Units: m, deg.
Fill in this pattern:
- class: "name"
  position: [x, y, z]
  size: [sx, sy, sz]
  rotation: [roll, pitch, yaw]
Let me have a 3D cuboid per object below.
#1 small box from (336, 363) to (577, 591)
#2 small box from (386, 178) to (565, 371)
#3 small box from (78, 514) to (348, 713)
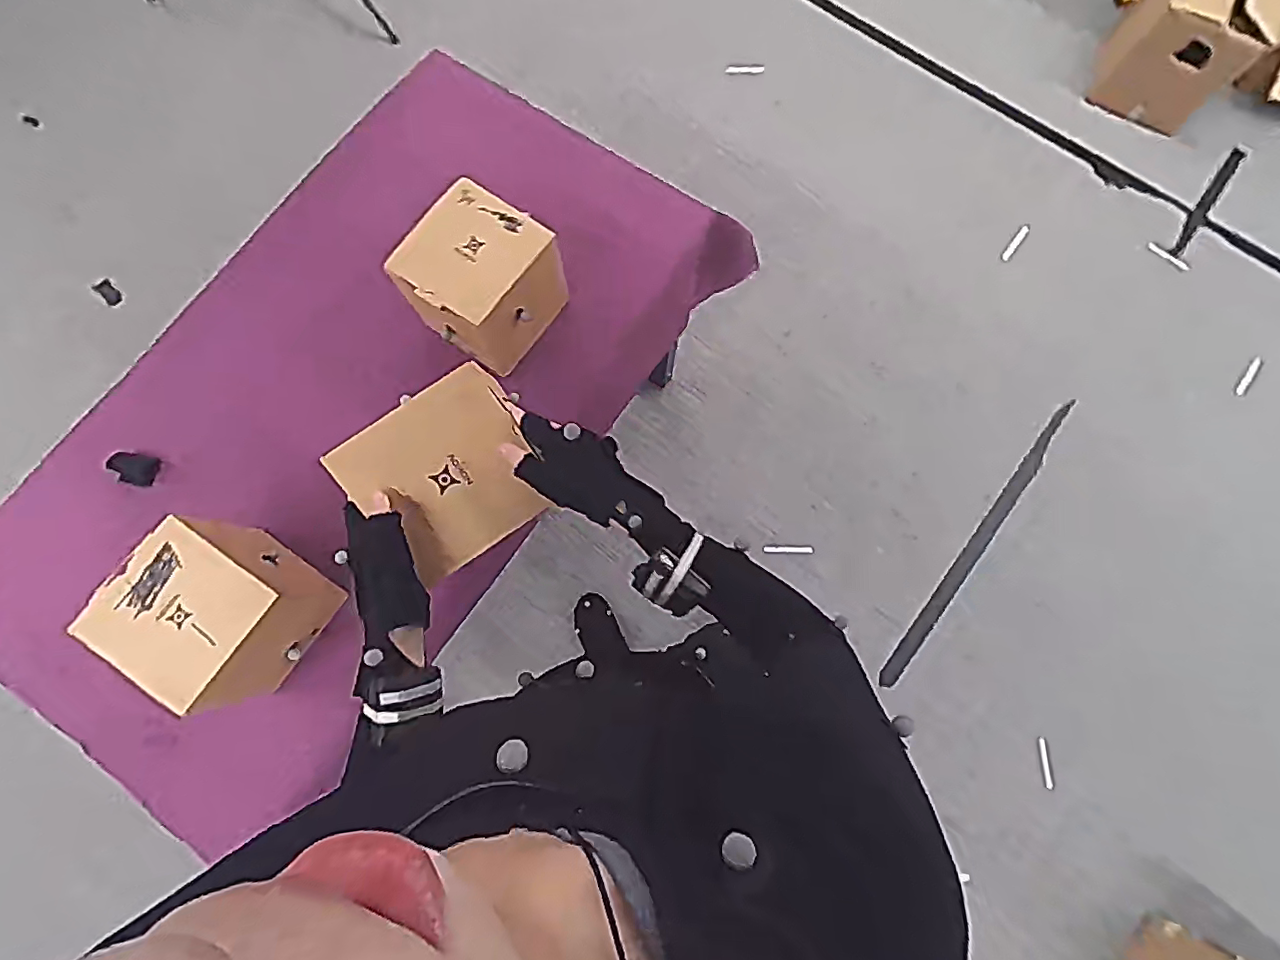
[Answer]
- class: "small box"
  position: [-0.189, -0.009, 0.611]
  size: [0.179, 0.176, 0.168]
  rotation: [-34, 97, -3]
- class: "small box"
  position: [-0.231, -0.294, 0.813]
  size: [0.168, 0.176, 0.179]
  rotation: [34, 80, 7]
- class: "small box"
  position: [-0.535, 0.170, 0.706]
  size: [0.179, 0.176, 0.168]
  rotation: [33, 79, 6]
